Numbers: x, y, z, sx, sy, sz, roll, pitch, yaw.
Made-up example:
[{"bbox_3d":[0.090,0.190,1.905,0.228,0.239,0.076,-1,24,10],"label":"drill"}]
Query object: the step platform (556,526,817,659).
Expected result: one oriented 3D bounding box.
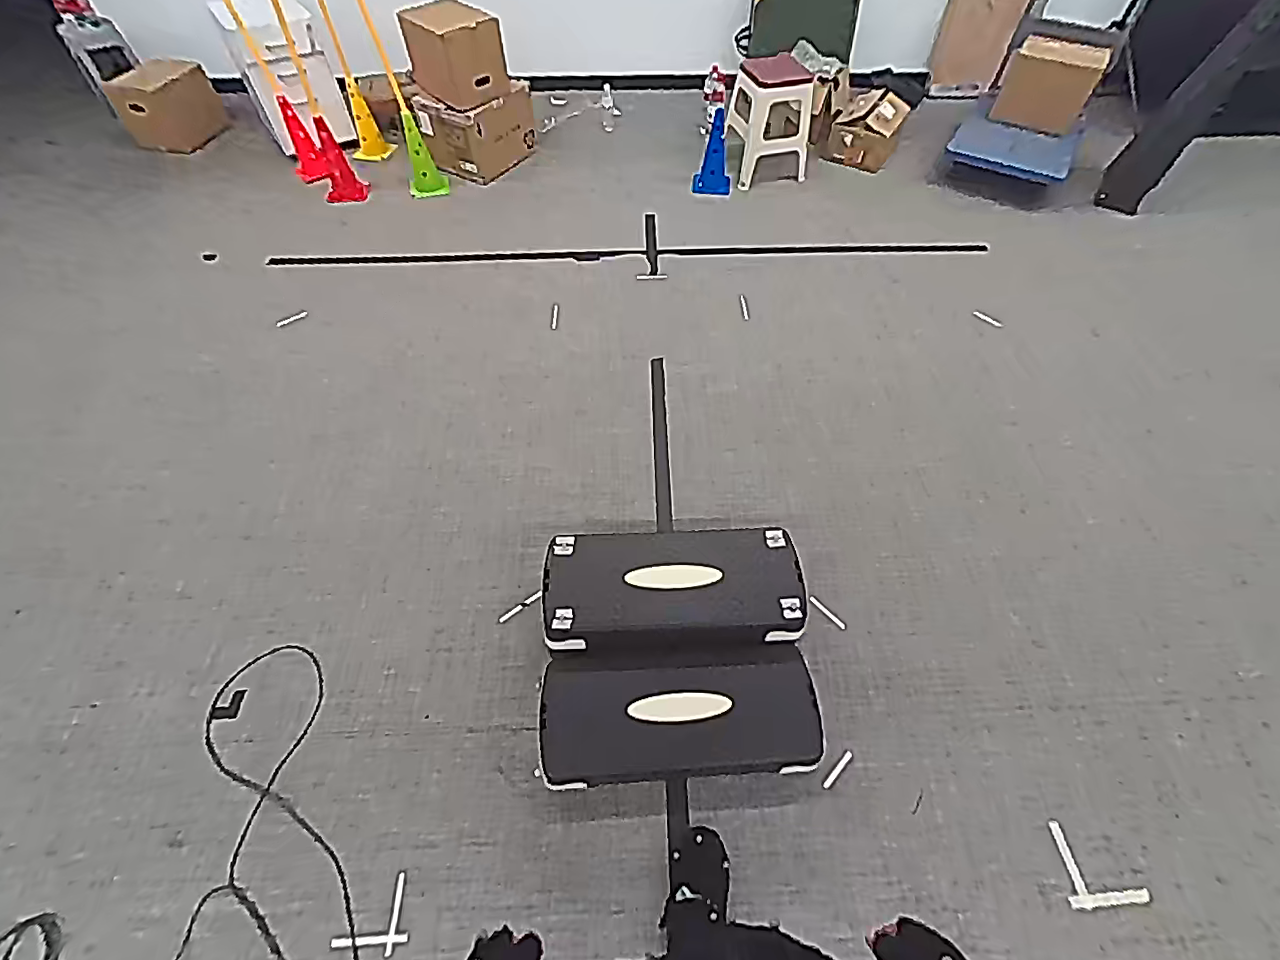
[{"bbox_3d":[0.117,0.296,1.458,0.684,0.204,0.286,-2,55,-3],"label":"step platform"}]
